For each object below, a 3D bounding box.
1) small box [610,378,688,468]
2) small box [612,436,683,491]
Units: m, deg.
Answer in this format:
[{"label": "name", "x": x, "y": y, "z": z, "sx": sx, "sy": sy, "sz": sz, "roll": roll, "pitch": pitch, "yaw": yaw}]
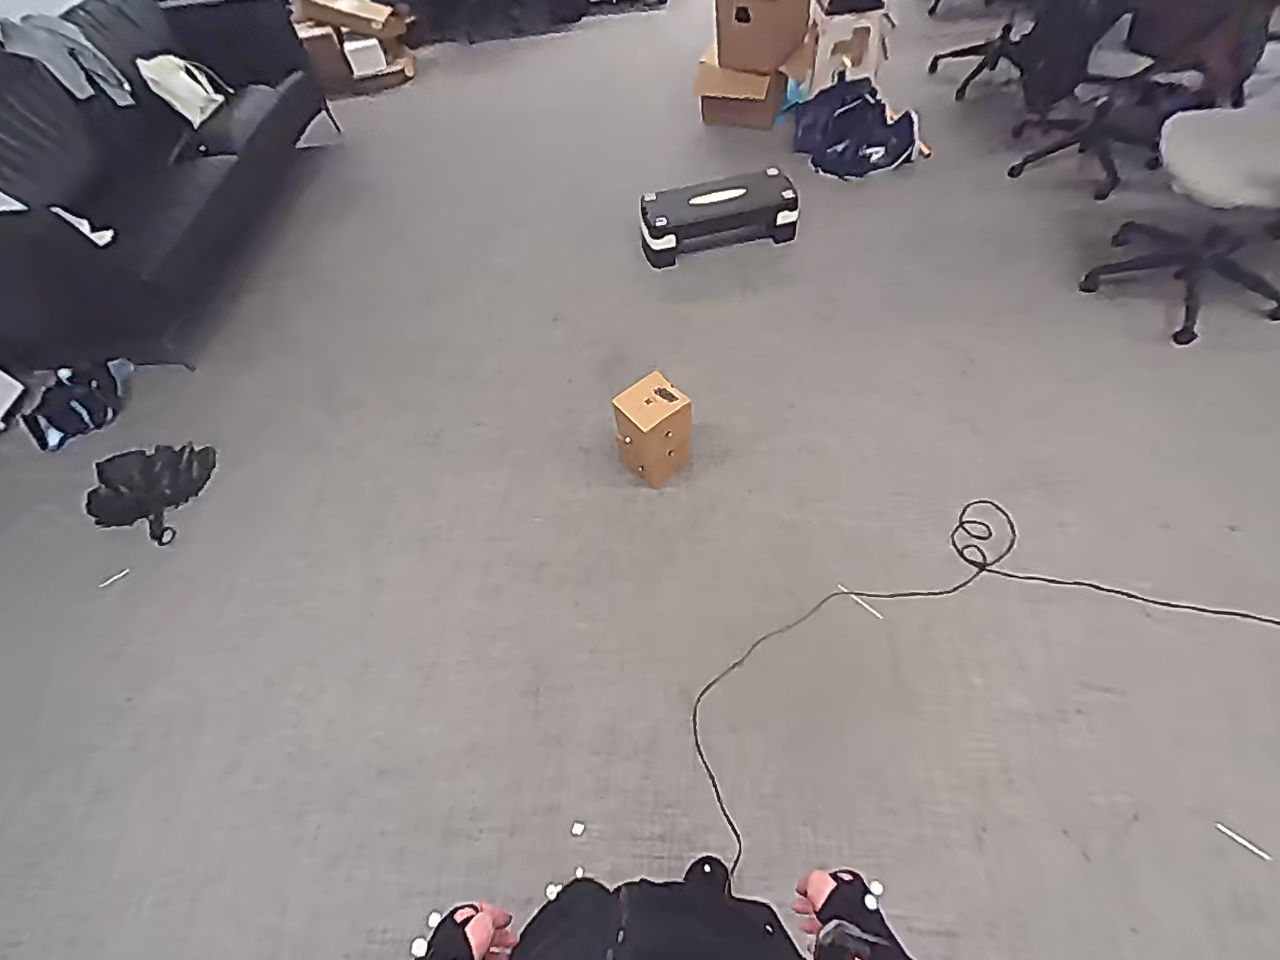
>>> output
[{"label": "small box", "x": 0.030, "y": -0.172, "z": 1.657, "sx": 0.179, "sy": 0.176, "sz": 0.168, "roll": -36, "pitch": 60, "yaw": -15}, {"label": "small box", "x": 0.033, "y": -0.093, "z": 1.803, "sx": 0.168, "sy": 0.176, "sz": 0.179, "roll": 38, "pitch": 67, "yaw": 26}]
